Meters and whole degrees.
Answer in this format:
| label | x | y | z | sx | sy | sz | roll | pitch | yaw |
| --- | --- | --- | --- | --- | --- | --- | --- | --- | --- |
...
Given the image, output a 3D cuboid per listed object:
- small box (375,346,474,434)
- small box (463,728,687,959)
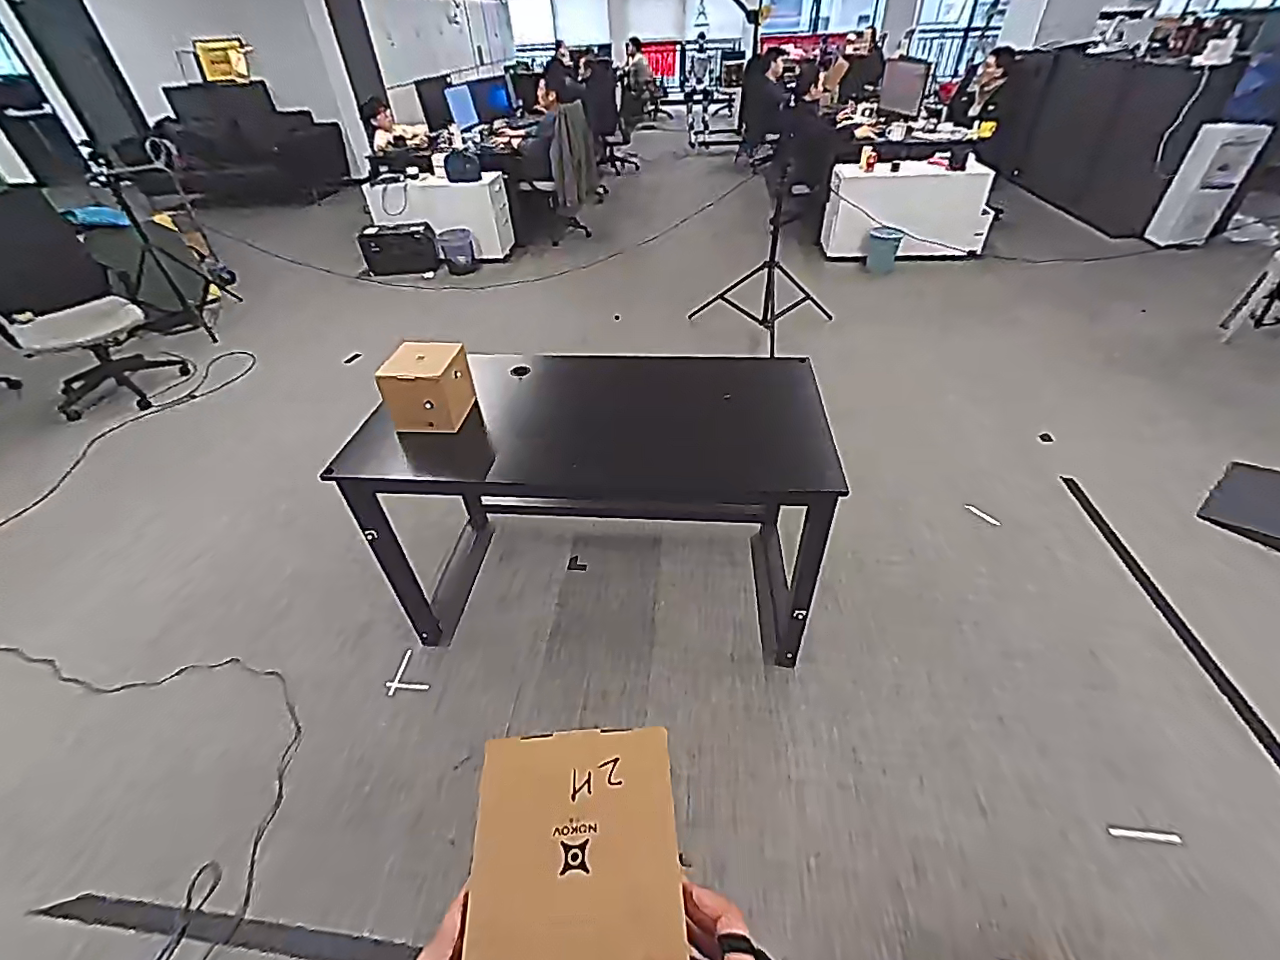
| label | x | y | z | sx | sy | sz | roll | pitch | yaw |
| --- | --- | --- | --- | --- | --- | --- | --- | --- | --- |
| small box | -0.545 | -0.233 | 1.402 | 0.168 | 0.176 | 0.179 | 2 | 40 | 4 |
| small box | -0.050 | 0.350 | 0.493 | 0.168 | 0.176 | 0.179 | -3 | 46 | -3 |
